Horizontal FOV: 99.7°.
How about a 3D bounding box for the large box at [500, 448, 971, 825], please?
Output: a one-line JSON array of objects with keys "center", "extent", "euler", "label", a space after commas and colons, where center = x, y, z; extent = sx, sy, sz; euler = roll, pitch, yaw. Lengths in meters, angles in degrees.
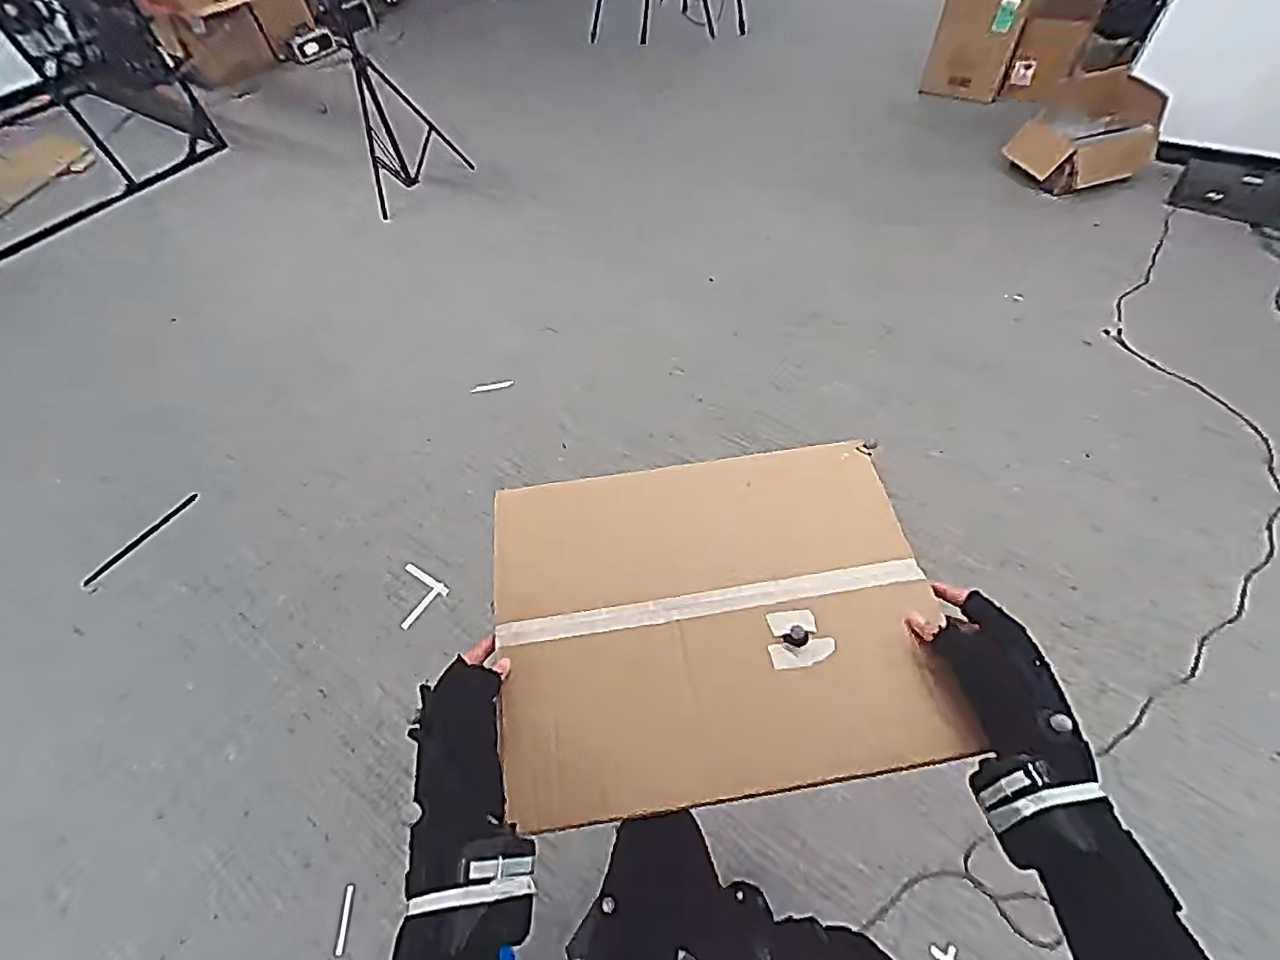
[{"center": [0.069, 0.200, 0.651], "extent": [0.408, 0.320, 0.320], "euler": [-8, 58, -3], "label": "large box"}]
